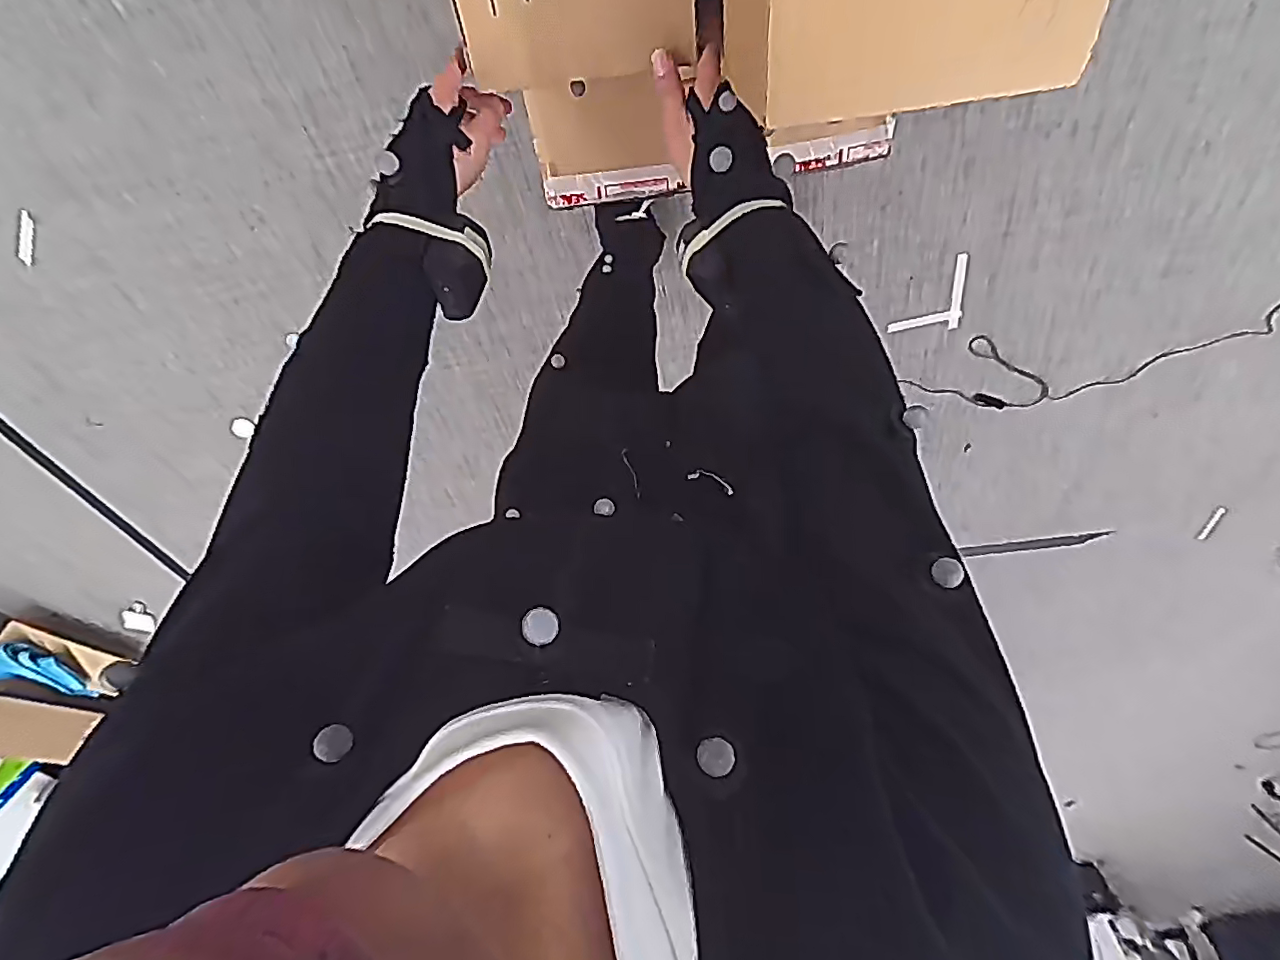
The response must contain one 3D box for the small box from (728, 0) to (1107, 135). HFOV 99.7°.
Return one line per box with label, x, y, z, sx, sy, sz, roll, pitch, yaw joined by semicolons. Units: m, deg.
small box;0.140;-0.316;0.295;0.168;0.176;0.179;-6;132;5
